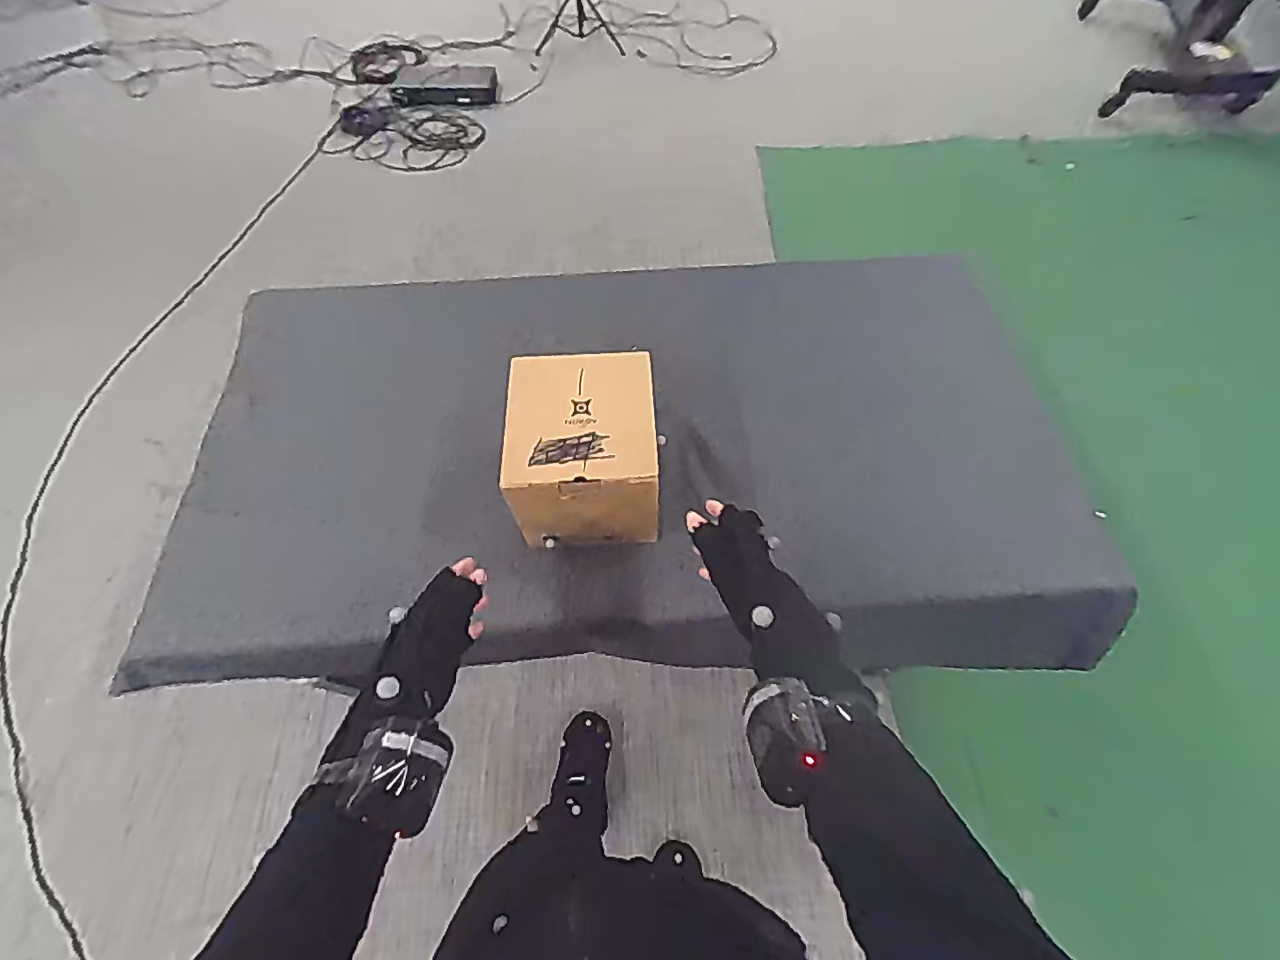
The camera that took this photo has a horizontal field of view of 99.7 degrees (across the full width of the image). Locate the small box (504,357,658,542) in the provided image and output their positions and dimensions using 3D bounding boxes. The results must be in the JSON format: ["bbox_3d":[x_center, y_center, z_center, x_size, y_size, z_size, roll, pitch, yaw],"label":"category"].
[{"bbox_3d":[-0.063,-0.029,0.674,0.168,0.176,0.179,-3,60,-1],"label":"small box"}]
